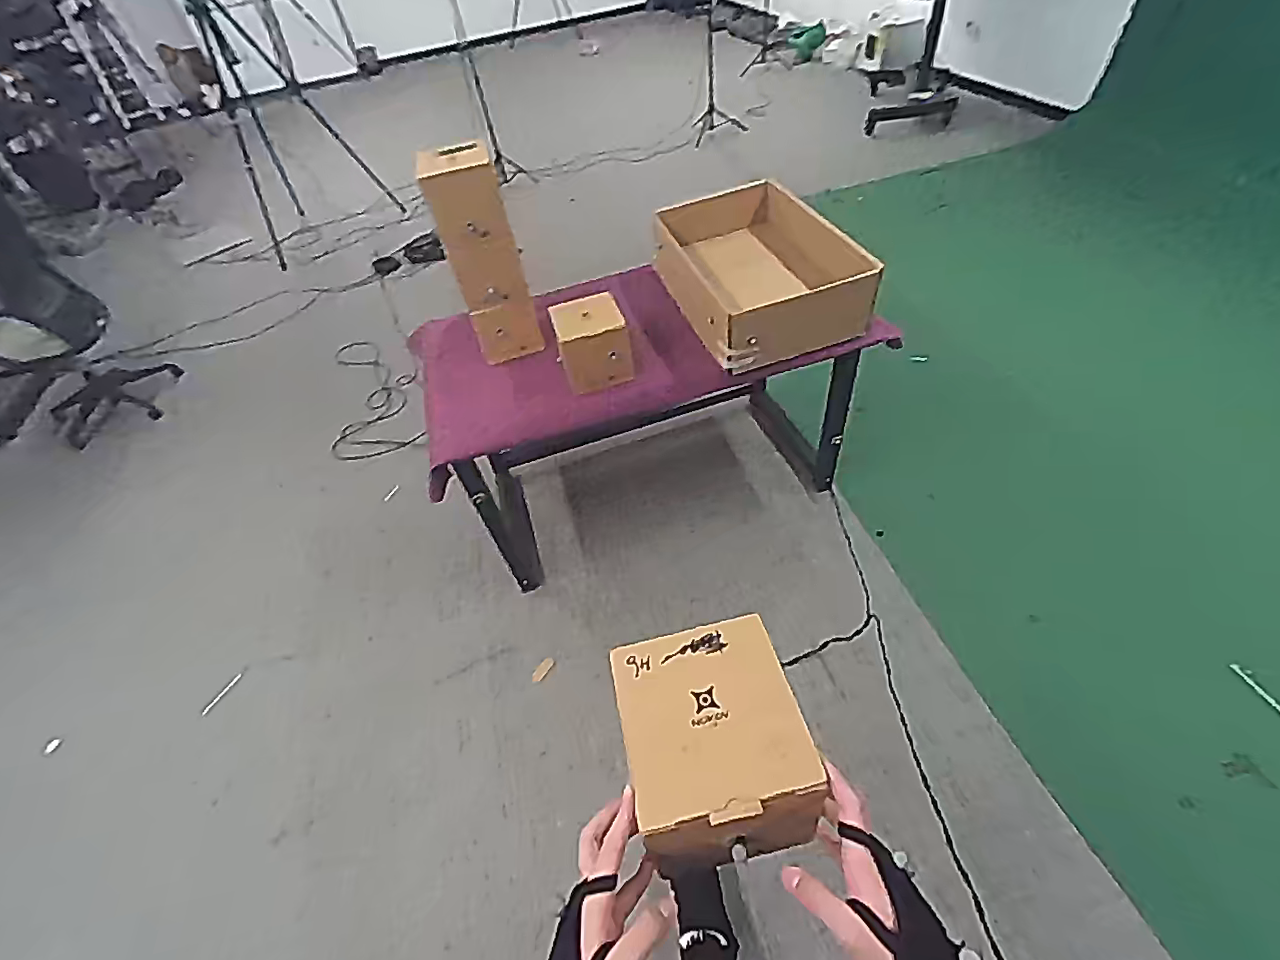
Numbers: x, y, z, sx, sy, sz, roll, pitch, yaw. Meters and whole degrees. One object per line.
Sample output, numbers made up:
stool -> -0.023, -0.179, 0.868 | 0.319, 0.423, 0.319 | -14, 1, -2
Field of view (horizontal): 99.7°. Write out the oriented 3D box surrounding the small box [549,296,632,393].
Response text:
small box -> -0.125, -0.344, 1.397 | 0.168, 0.176, 0.179 | -16, 47, -6

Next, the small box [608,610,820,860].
small box -> 0.071, 0.270, 0.564 | 0.168, 0.176, 0.179 | -13, 43, -2

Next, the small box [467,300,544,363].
small box -> -0.383, -0.450, 1.533 | 0.168, 0.176, 0.179 | -18, 48, -7

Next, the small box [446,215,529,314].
small box -> -0.396, -0.562, 1.413 | 0.168, 0.176, 0.179 | -15, 49, -4
